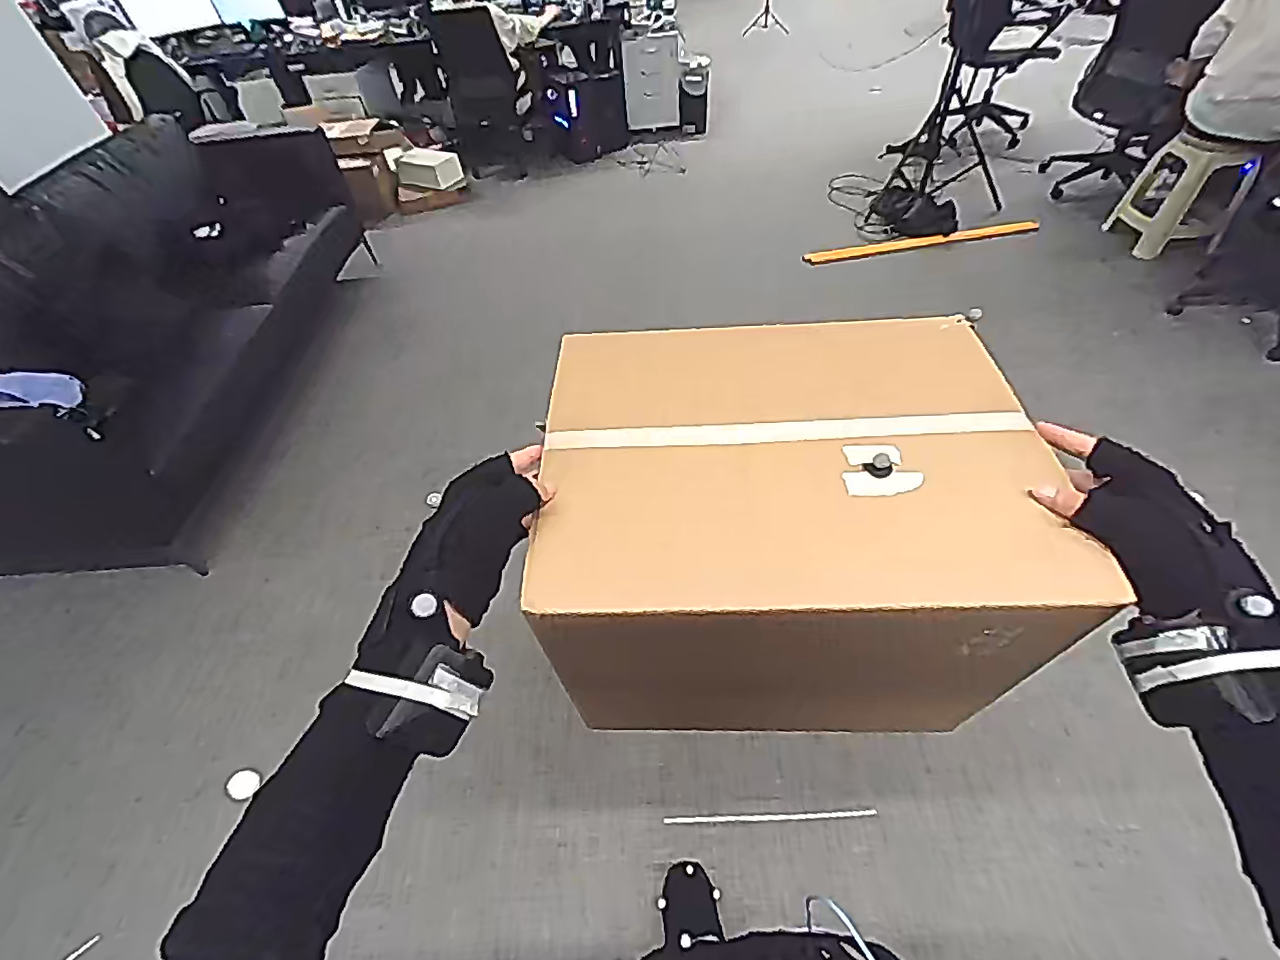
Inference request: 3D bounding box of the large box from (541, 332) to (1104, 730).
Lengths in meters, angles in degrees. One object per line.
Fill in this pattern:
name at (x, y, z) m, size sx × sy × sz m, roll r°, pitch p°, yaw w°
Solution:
large box at (0.131, 0.064, 0.587) m, size 0.408 × 0.320 × 0.320 m, roll -1°, pitch 51°, yaw 3°
